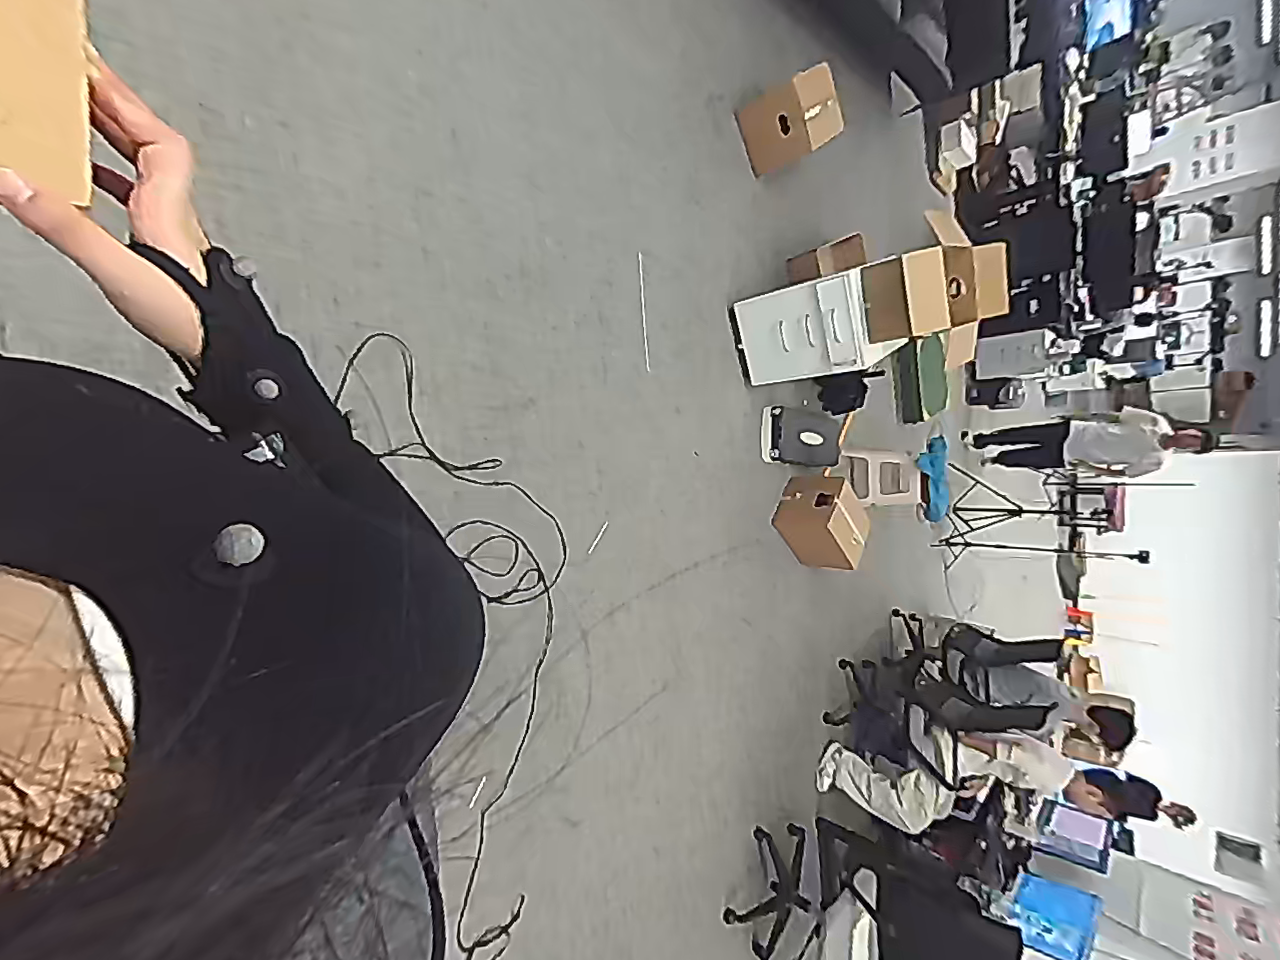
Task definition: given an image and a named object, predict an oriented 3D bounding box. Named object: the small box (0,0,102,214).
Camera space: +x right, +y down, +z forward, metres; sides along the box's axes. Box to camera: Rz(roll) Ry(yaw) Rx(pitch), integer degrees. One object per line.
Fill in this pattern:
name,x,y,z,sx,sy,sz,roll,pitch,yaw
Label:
small box,-0.368,-0.237,0.246,0.168,0.176,0.179,-5,108,-49
